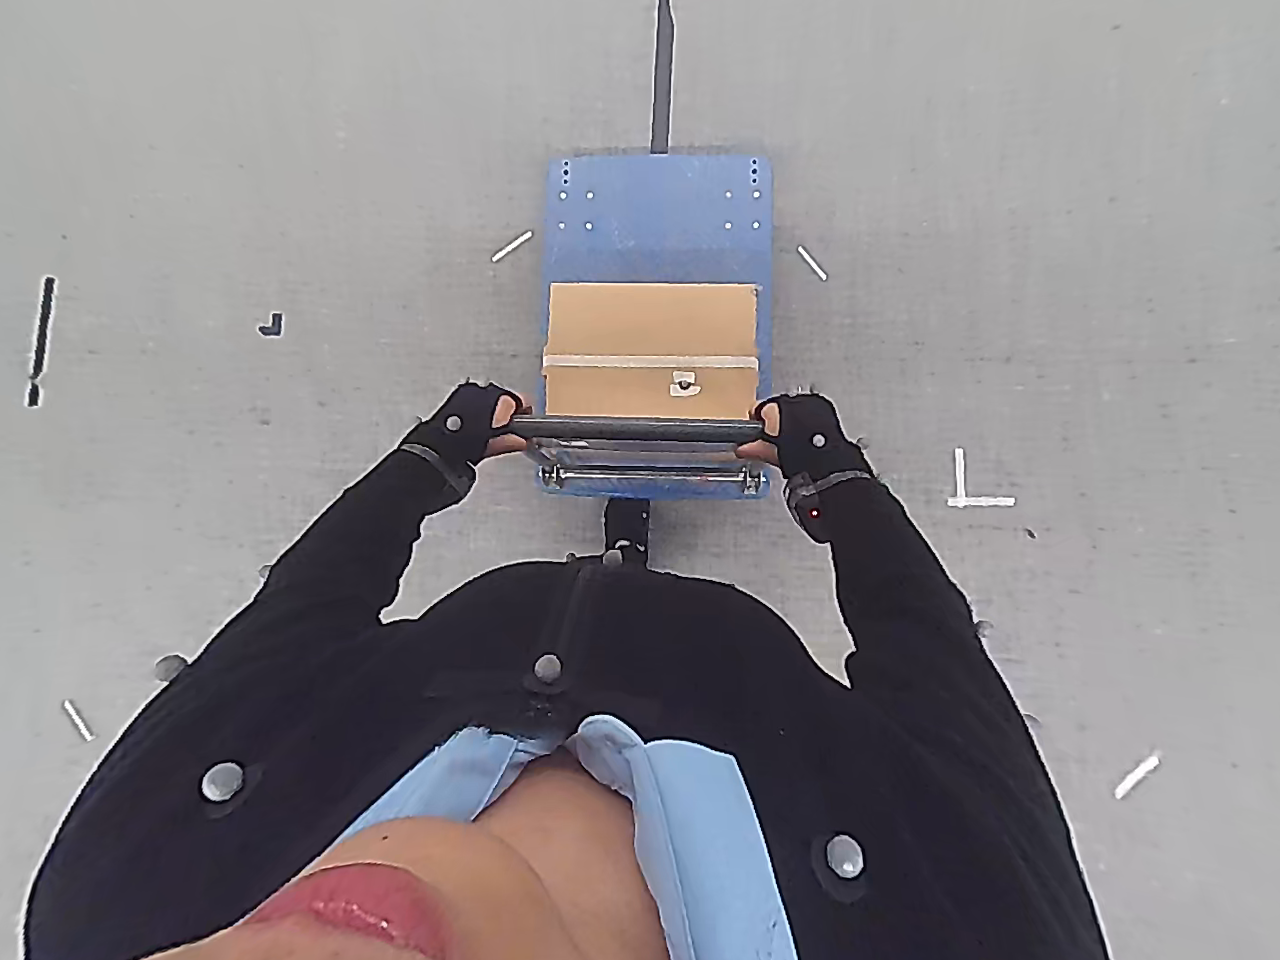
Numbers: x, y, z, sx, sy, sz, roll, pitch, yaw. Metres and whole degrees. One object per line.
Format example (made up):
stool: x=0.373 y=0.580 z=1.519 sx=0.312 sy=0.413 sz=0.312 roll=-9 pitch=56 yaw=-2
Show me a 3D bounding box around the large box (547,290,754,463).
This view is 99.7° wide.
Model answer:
large box: x=0.023 y=-0.205 z=1.189 sx=0.408 sy=0.320 sz=0.320 roll=1 pitch=87 yaw=2
